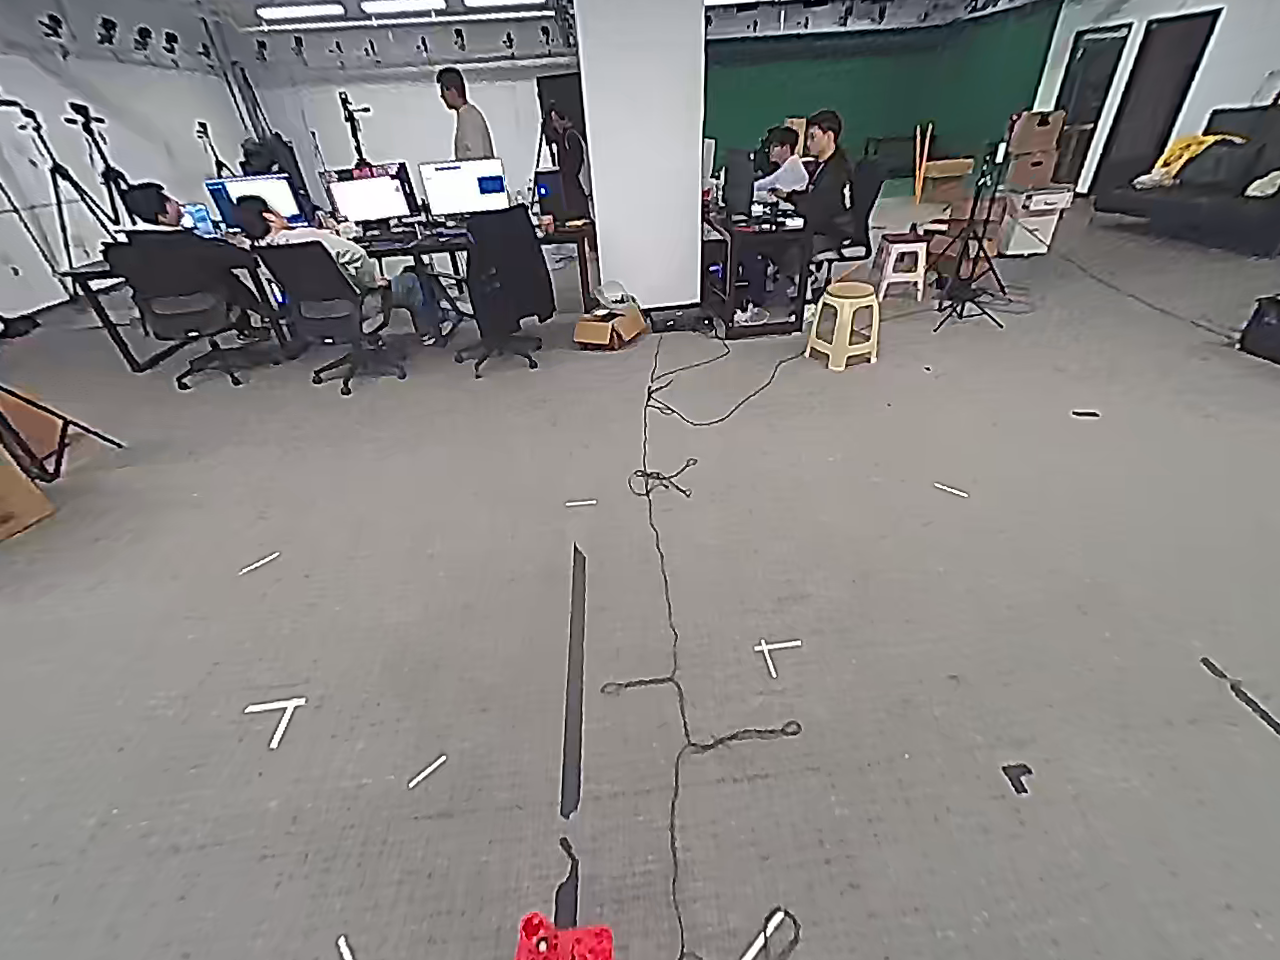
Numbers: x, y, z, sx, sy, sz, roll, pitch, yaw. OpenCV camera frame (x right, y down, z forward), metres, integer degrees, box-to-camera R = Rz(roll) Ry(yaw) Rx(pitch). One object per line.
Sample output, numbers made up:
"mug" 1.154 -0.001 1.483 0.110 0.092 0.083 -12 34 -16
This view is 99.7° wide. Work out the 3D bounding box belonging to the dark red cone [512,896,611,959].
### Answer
"dark red cone" -0.159 0.841 0.952 0.201 0.394 0.202 -5 33 -3
